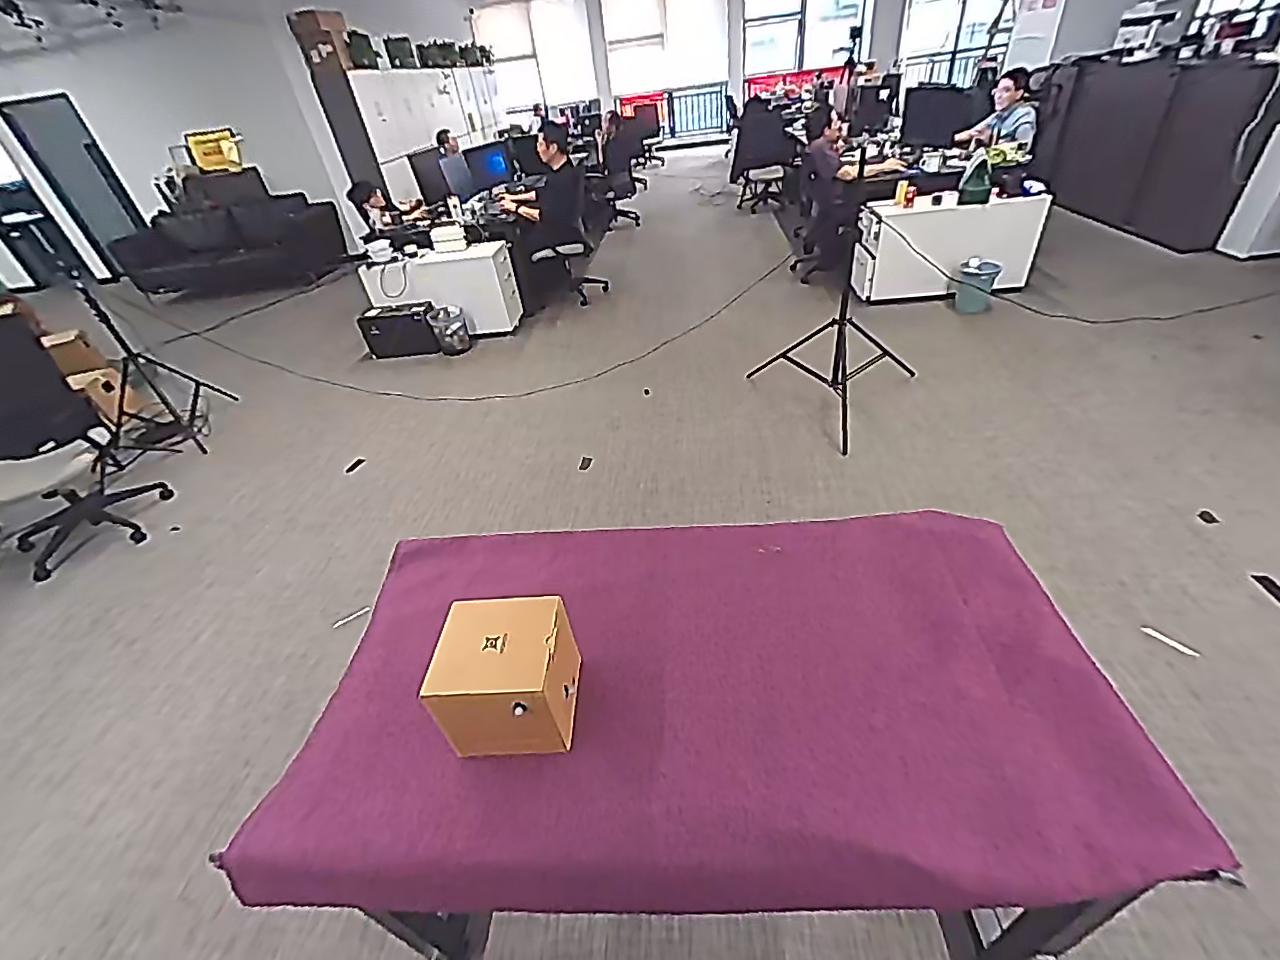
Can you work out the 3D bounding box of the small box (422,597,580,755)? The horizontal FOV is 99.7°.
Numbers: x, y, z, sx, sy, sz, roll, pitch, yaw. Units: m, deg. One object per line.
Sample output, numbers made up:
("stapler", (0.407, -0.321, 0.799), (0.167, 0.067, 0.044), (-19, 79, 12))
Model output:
("small box", (-0.200, 0.302, 0.831), (0.179, 0.176, 0.168), (-4, 37, 4))
